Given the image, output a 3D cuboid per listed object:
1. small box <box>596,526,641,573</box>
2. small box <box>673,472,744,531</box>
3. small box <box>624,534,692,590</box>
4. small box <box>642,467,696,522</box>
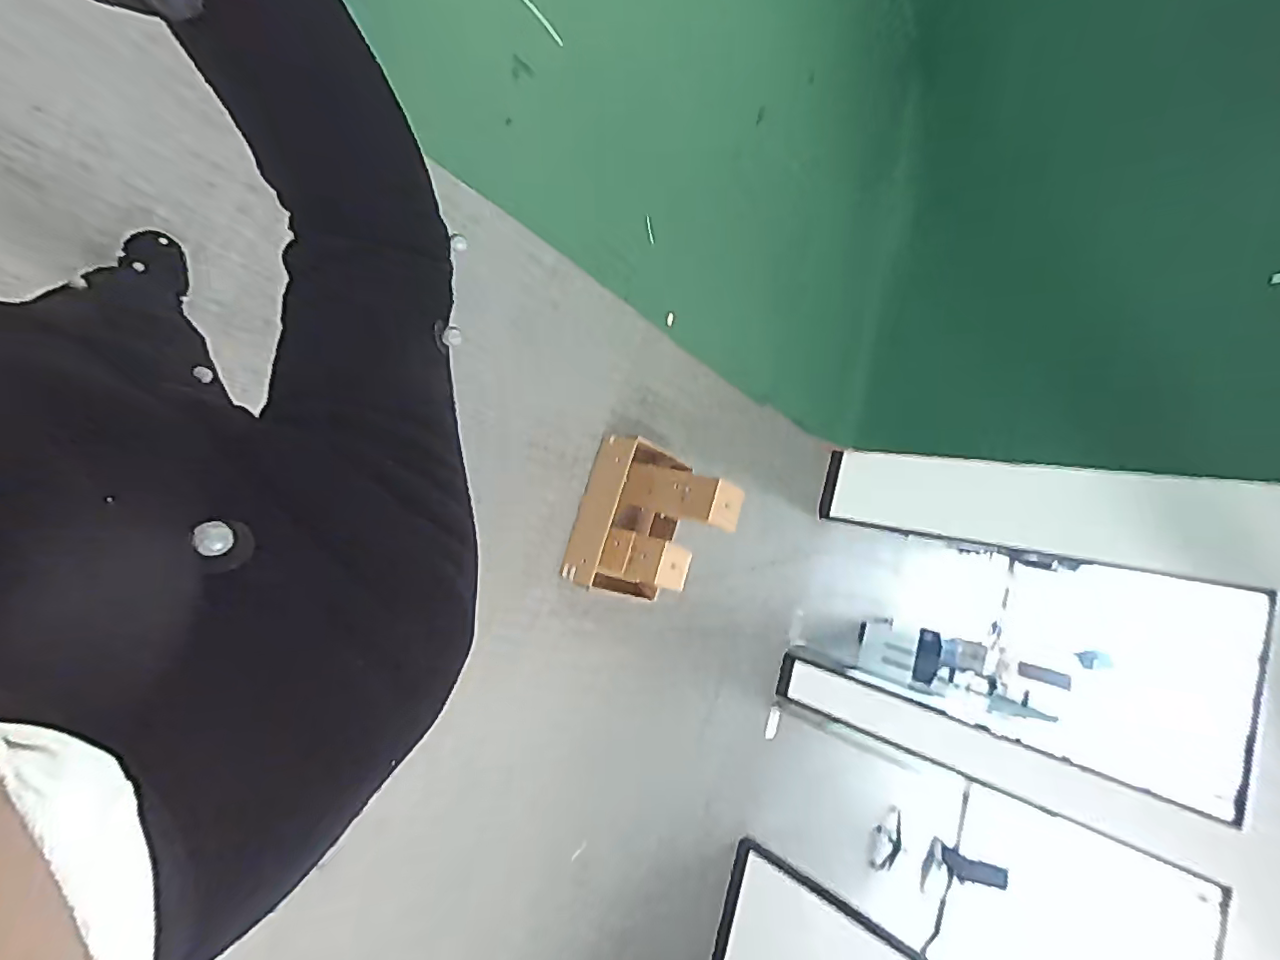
[{"bbox_3d":[-0.051,0.293,2.205,0.179,0.176,0.168,26,77,-45],"label":"small box"},{"bbox_3d":[0.254,0.076,2.004,0.179,0.176,0.168,24,81,-44],"label":"small box"},{"bbox_3d":[0.067,0.314,2.092,0.179,0.176,0.168,27,77,-45],"label":"small box"},{"bbox_3d":[0.141,0.054,2.120,0.179,0.176,0.168,23,81,-45],"label":"small box"}]
